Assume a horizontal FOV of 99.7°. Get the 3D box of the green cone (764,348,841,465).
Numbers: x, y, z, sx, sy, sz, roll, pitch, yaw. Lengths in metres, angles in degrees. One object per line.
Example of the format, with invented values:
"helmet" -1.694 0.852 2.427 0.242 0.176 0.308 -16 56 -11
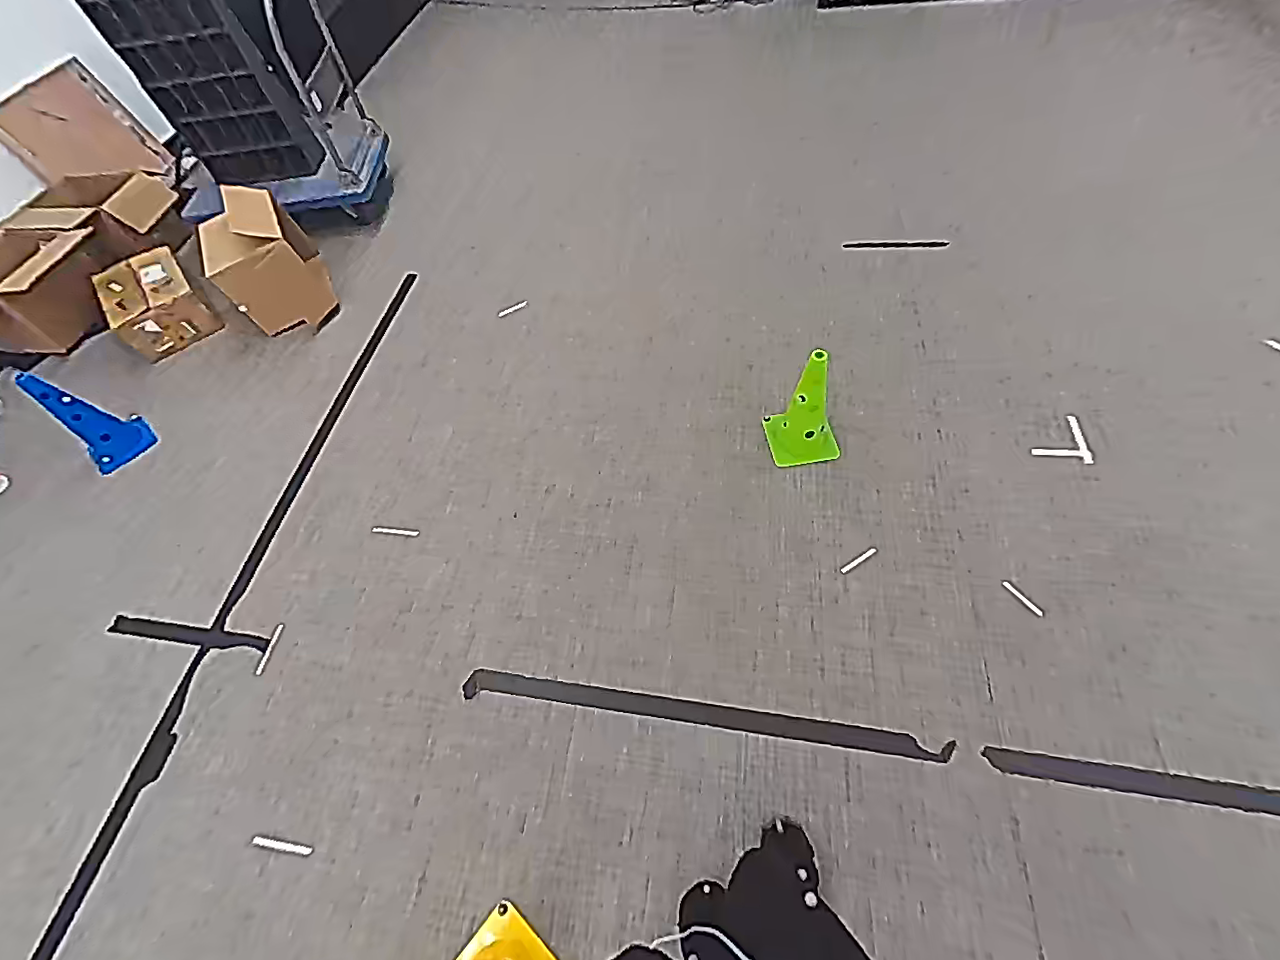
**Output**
"green cone" 0.490 -0.227 1.543 0.202 0.368 0.200 -9 57 0
